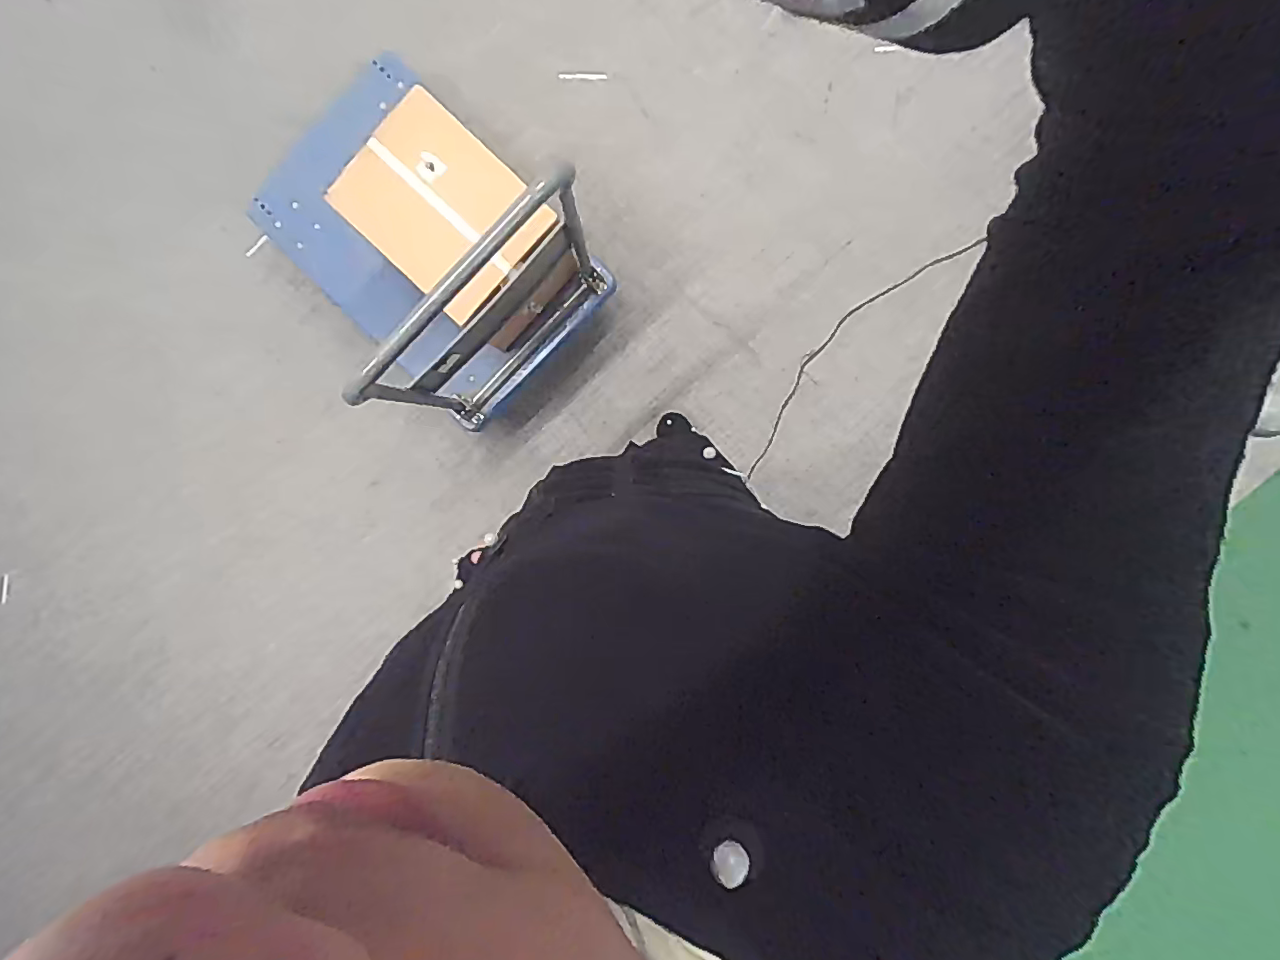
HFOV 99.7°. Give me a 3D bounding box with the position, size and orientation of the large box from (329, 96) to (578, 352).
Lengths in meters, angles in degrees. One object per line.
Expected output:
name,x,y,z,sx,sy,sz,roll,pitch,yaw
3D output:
large box,-0.411,-0.571,1.291,0.408,0.320,0.320,43,93,0
